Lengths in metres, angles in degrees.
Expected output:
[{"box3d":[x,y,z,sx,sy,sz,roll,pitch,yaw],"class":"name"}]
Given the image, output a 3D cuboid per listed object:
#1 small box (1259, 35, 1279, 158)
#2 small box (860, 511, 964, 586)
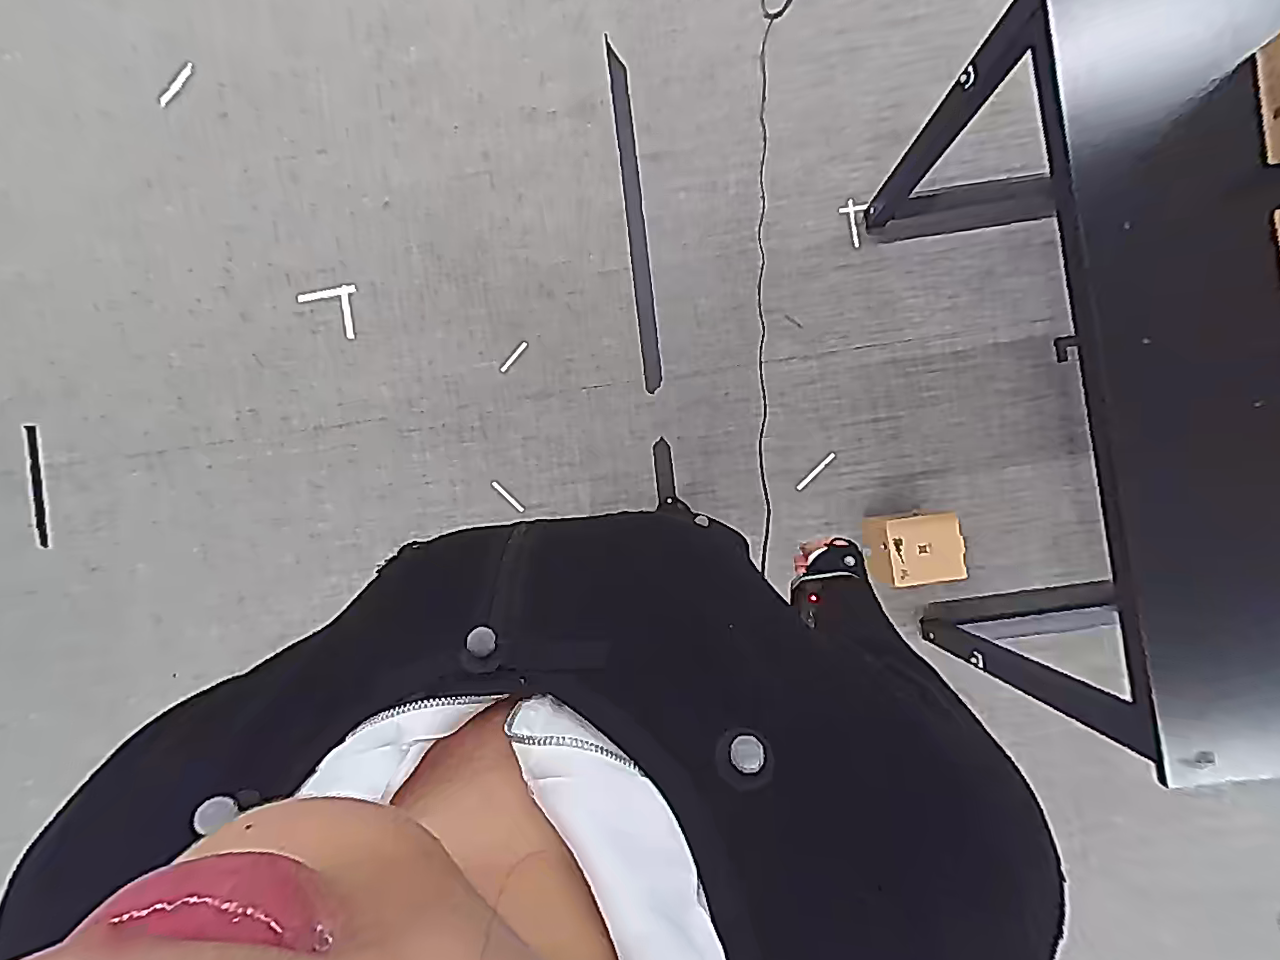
[{"box3d":[0.943,-0.531,0.674,0.179,0.176,0.168,-4,88,2],"class":"small box"},{"box3d":[0.692,0.170,1.390,0.179,0.176,0.168,-8,87,2],"class":"small box"}]
